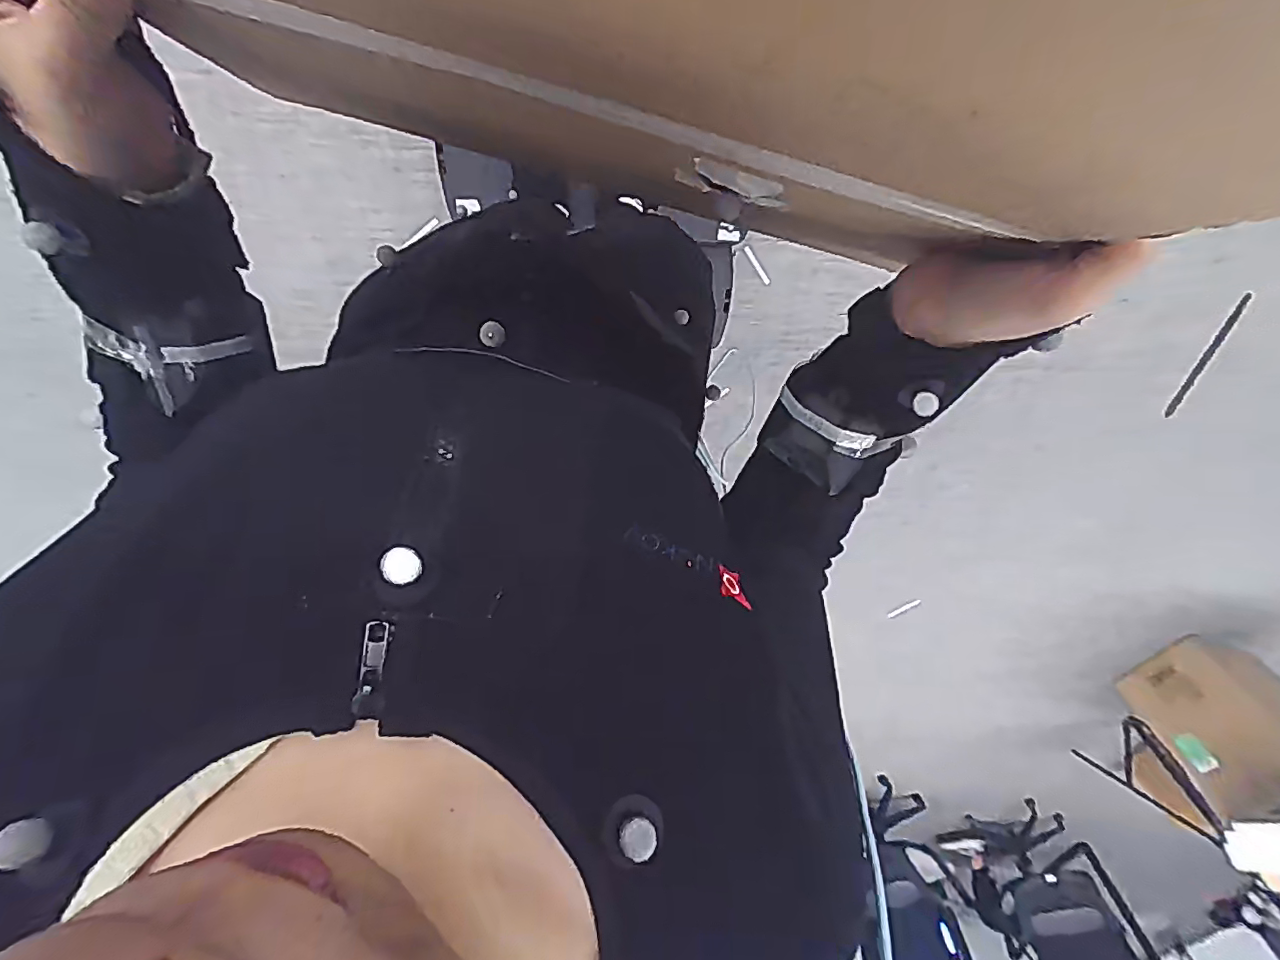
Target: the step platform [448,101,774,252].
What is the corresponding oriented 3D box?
[{"bbox_3d":[-0.047,-0.693,1.152,0.684,0.204,0.286,5,126,-8],"label":"step platform"}]
